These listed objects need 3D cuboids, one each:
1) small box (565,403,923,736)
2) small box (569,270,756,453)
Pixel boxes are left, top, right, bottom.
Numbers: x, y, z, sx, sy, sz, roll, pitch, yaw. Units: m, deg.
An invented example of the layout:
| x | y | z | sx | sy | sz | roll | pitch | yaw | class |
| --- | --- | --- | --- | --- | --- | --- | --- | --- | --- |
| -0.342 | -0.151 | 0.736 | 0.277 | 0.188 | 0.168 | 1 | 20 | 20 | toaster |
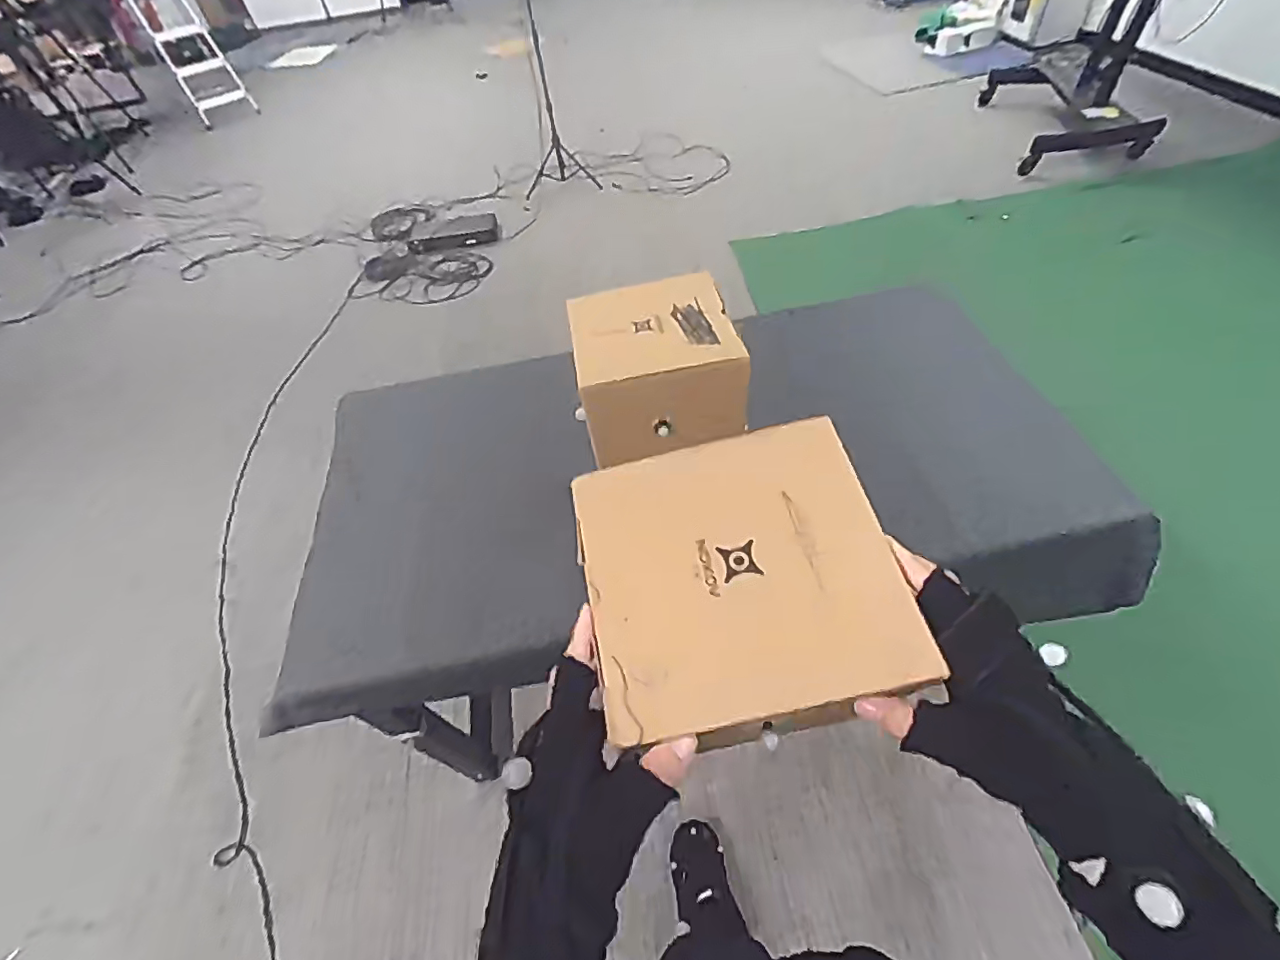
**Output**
| x | y | z | sx | sy | sz | roll | pitch | yaw | class |
| --- | --- | --- | --- | --- | --- | --- | --- | --- | --- |
| 0.059 | 0.076 | 0.385 | 0.179 | 0.176 | 0.168 | -13 | 61 | 1 | small box |
| 0.022 | -0.119 | 0.647 | 0.179 | 0.176 | 0.168 | -12 | 52 | -4 | small box |
